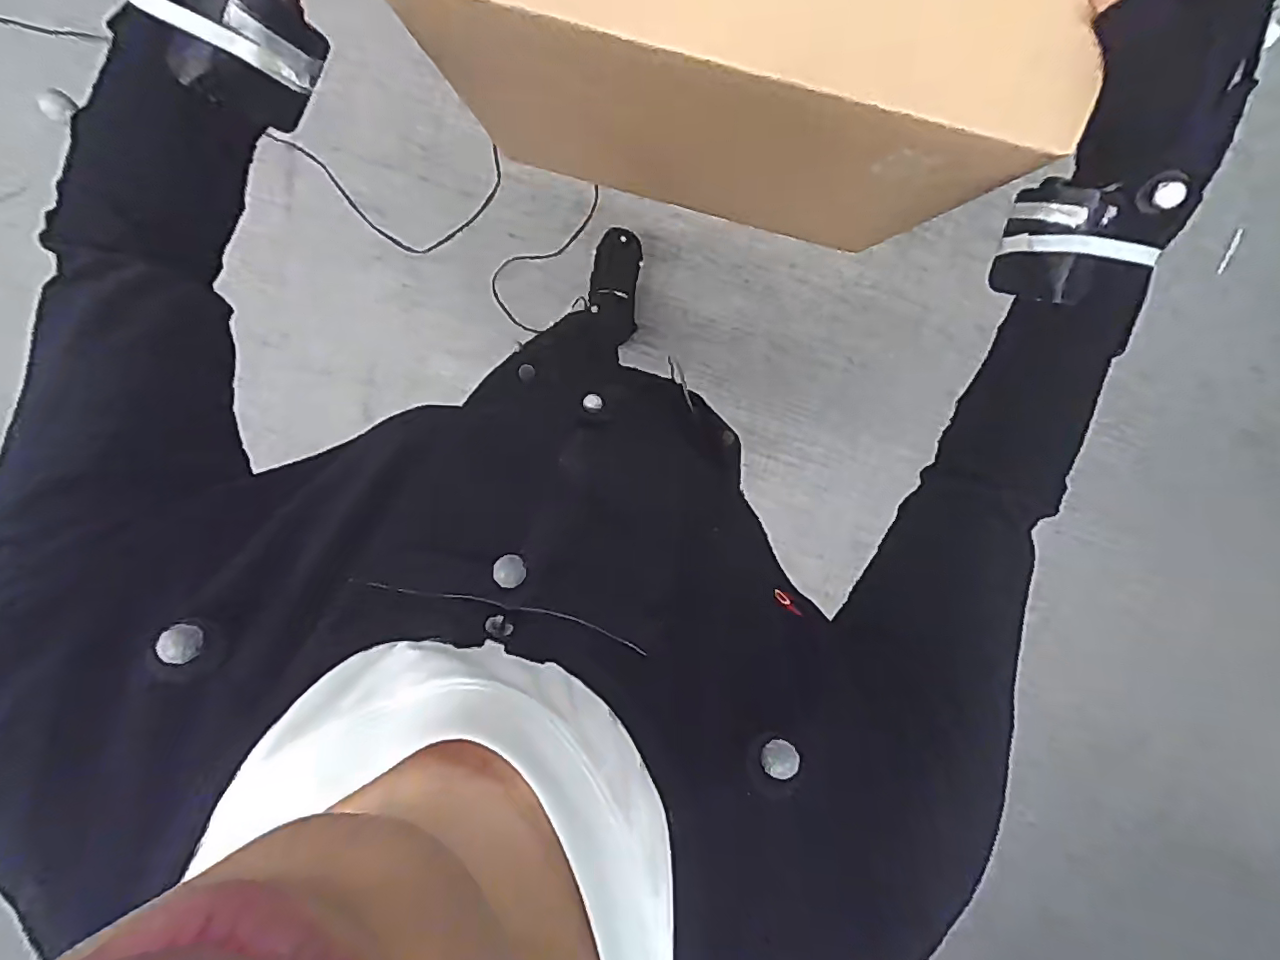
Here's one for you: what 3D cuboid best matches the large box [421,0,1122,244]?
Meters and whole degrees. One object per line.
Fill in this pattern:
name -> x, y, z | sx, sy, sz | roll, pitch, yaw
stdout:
large box -> 0.090, -0.413, 0.417 | 0.408, 0.320, 0.320 | 13, 104, -3
